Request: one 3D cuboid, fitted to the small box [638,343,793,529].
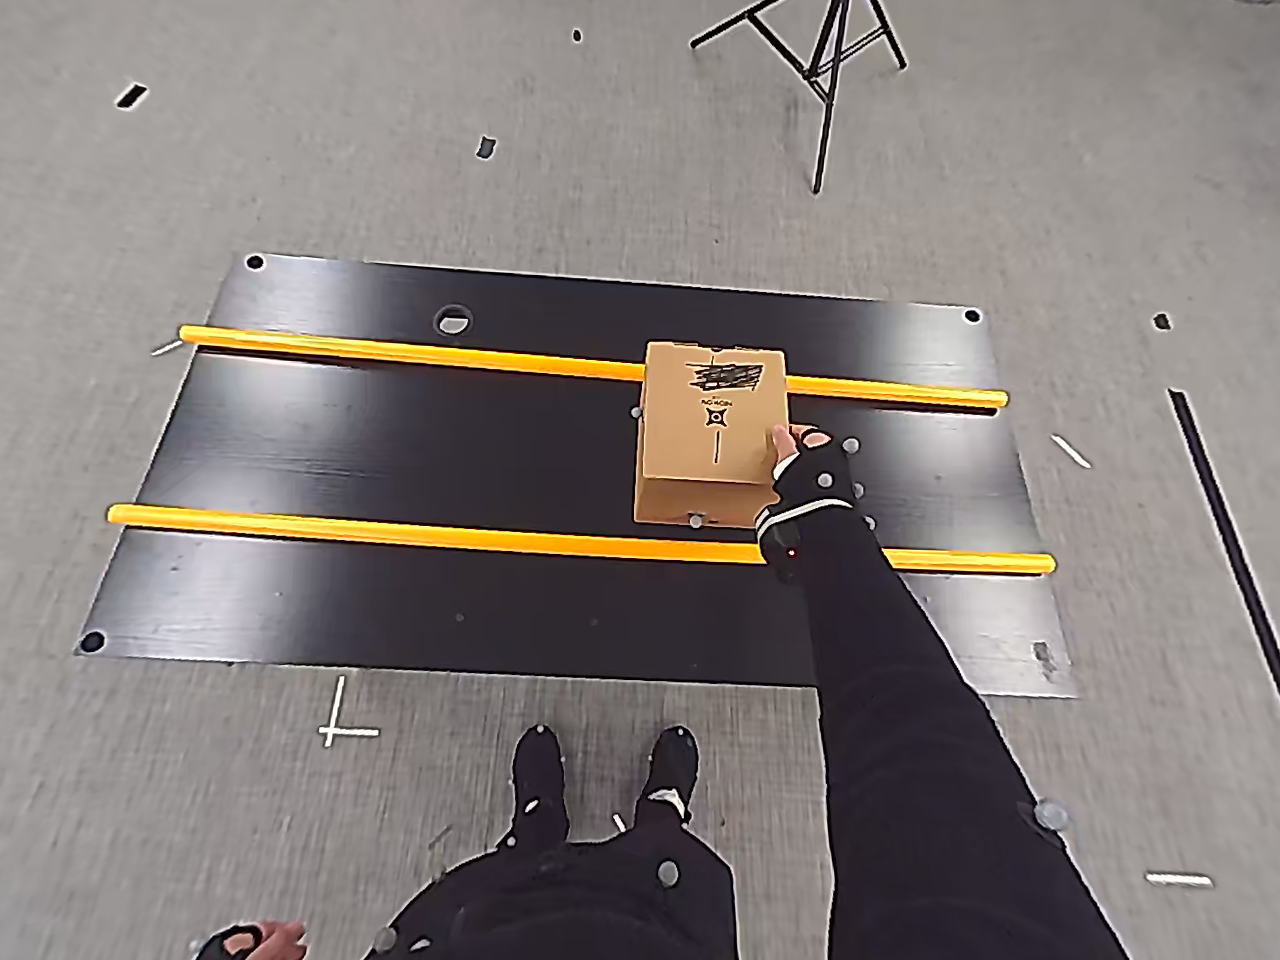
[{"bbox_3d":[0.085,-0.049,0.691,0.168,0.176,0.179,4,69,-2],"label":"small box"}]
